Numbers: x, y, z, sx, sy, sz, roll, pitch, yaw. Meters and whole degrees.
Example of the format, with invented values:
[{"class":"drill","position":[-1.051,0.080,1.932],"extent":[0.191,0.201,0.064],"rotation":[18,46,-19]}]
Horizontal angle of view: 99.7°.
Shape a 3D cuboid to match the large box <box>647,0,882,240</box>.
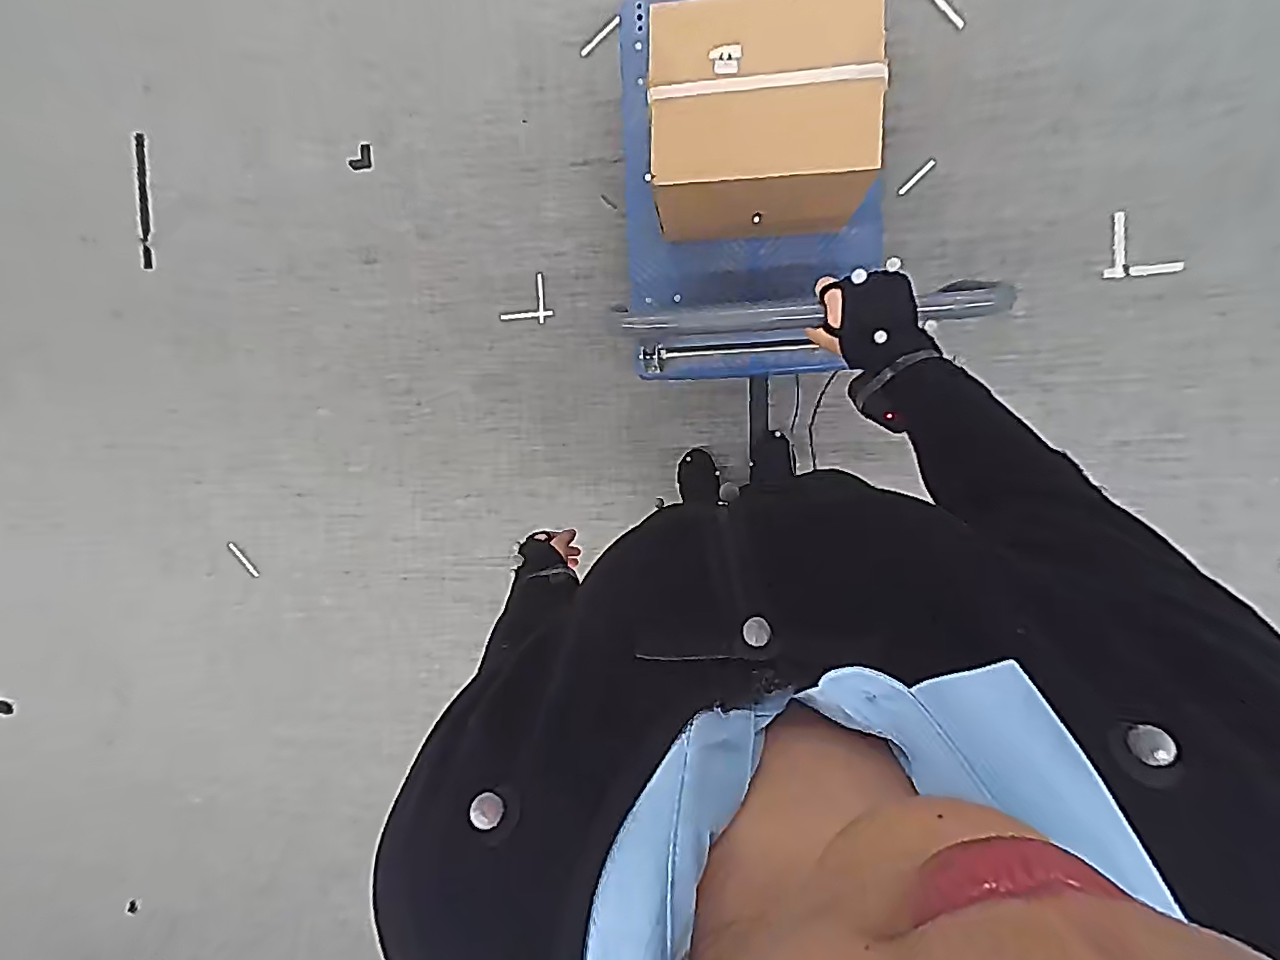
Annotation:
[{"class":"large box","position":[0.236,-0.704,1.087],"extent":[0.408,0.320,0.320],"rotation":[0,94,9]}]
